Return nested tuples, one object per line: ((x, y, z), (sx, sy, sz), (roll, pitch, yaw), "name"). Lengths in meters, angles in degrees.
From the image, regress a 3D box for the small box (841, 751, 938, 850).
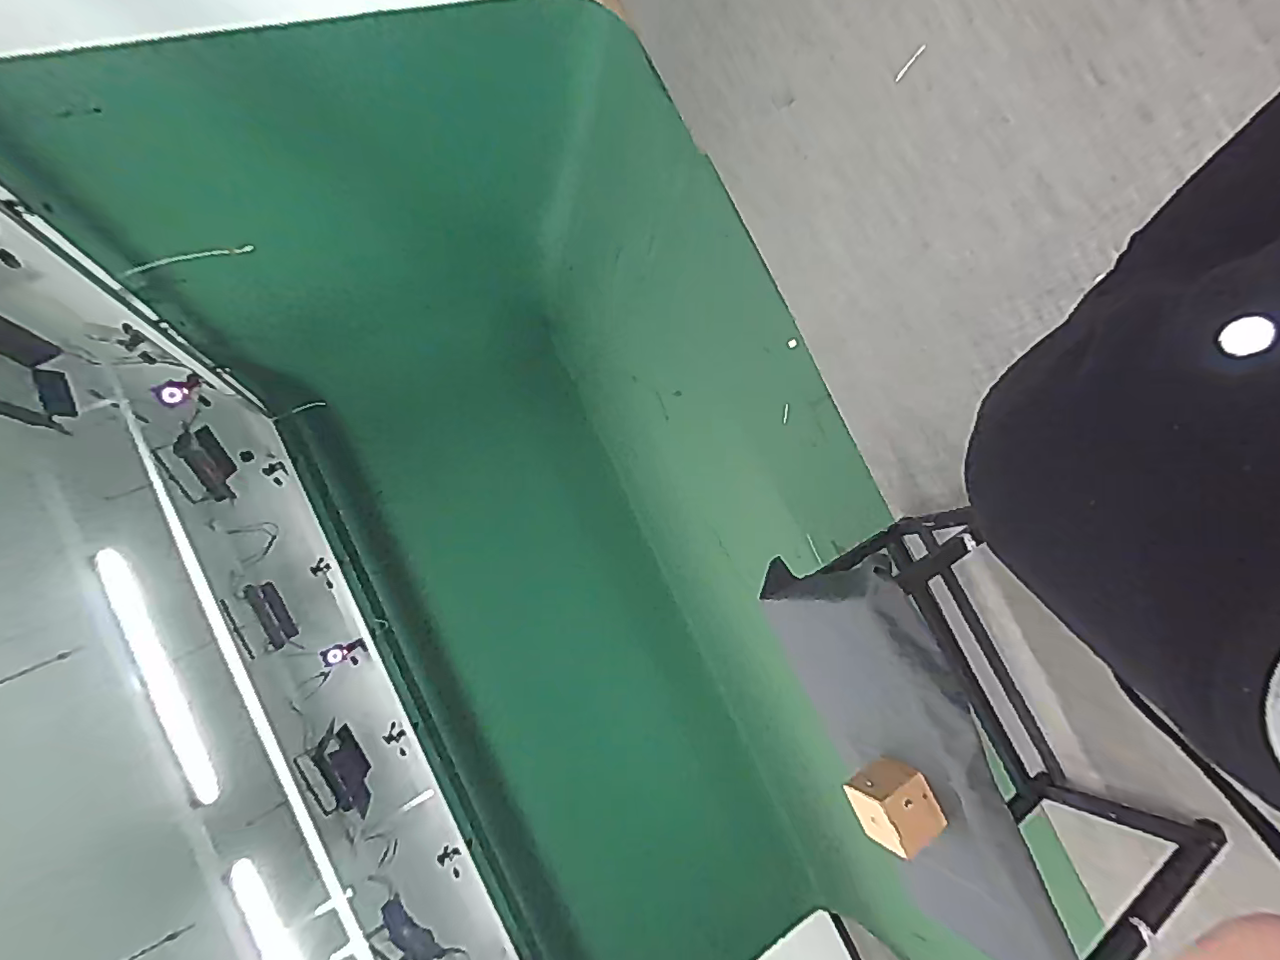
((0.747, 0.939, 1.608), (0.168, 0.176, 0.179), (65, 162, 4), "small box")
